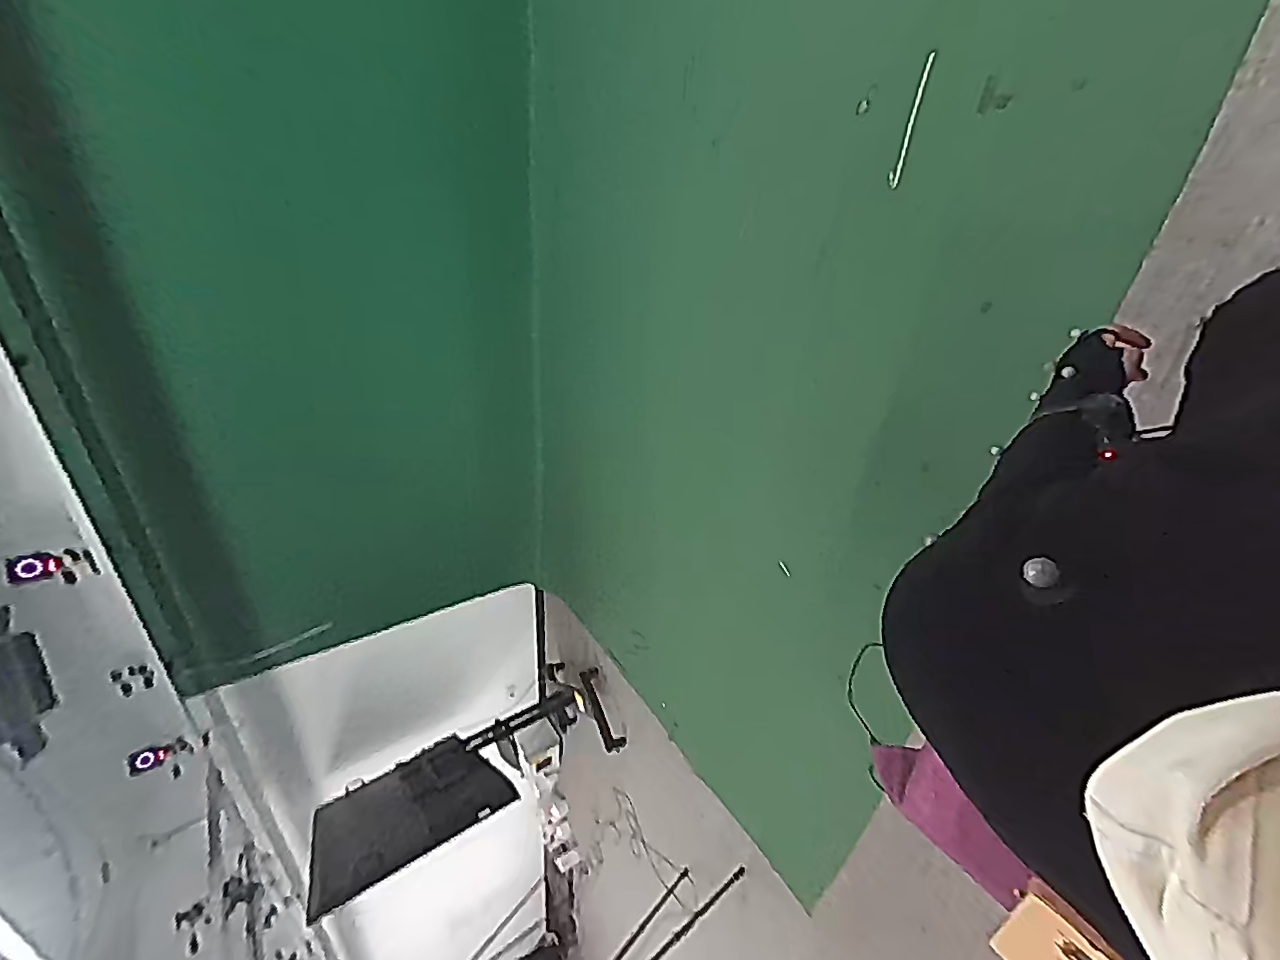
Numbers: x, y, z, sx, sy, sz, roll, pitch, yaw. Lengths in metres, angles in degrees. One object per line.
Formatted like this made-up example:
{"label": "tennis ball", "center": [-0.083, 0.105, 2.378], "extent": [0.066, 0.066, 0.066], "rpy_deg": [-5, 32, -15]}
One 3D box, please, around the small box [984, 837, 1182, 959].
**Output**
{"label": "small box", "center": [0.683, 0.707, 0.836], "extent": [0.168, 0.176, 0.179], "rpy_deg": [37, 132, 44]}
